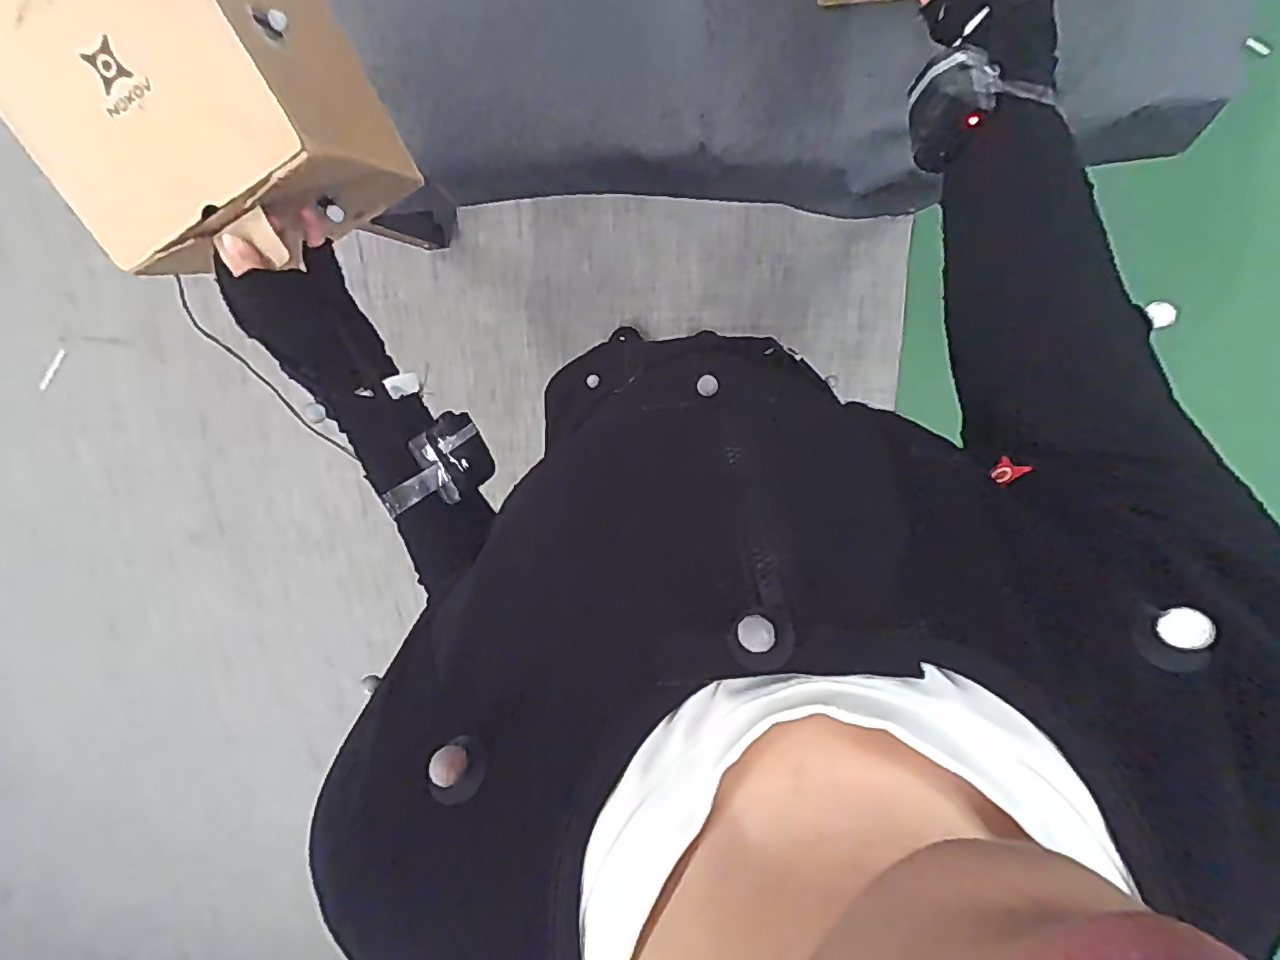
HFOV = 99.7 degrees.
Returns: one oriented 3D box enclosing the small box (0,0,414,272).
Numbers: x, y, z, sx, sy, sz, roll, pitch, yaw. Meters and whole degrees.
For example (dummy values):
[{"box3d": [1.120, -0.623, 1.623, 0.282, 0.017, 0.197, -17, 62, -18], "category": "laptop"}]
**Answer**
[{"box3d": [-0.302, -0.273, 0.389, 0.168, 0.176, 0.179, -24, 109, 13], "category": "small box"}]
